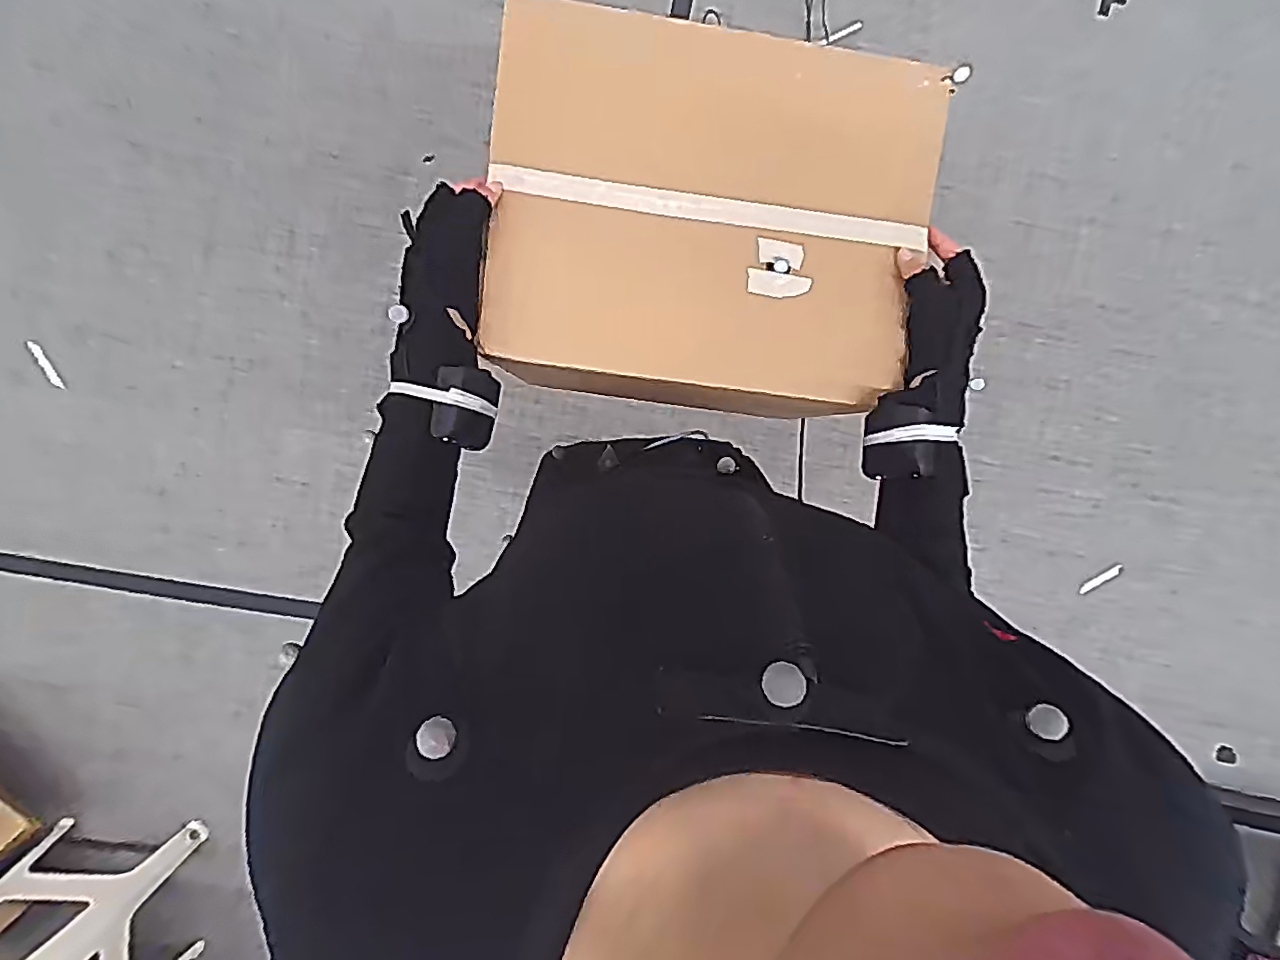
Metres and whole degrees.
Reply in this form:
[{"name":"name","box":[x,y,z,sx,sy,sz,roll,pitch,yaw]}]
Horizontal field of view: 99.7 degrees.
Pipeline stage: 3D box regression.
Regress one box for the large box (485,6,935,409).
[{"name":"large box","box":[0.055,-0.266,0.655,0.408,0.320,0.320,7,96,-4]}]
